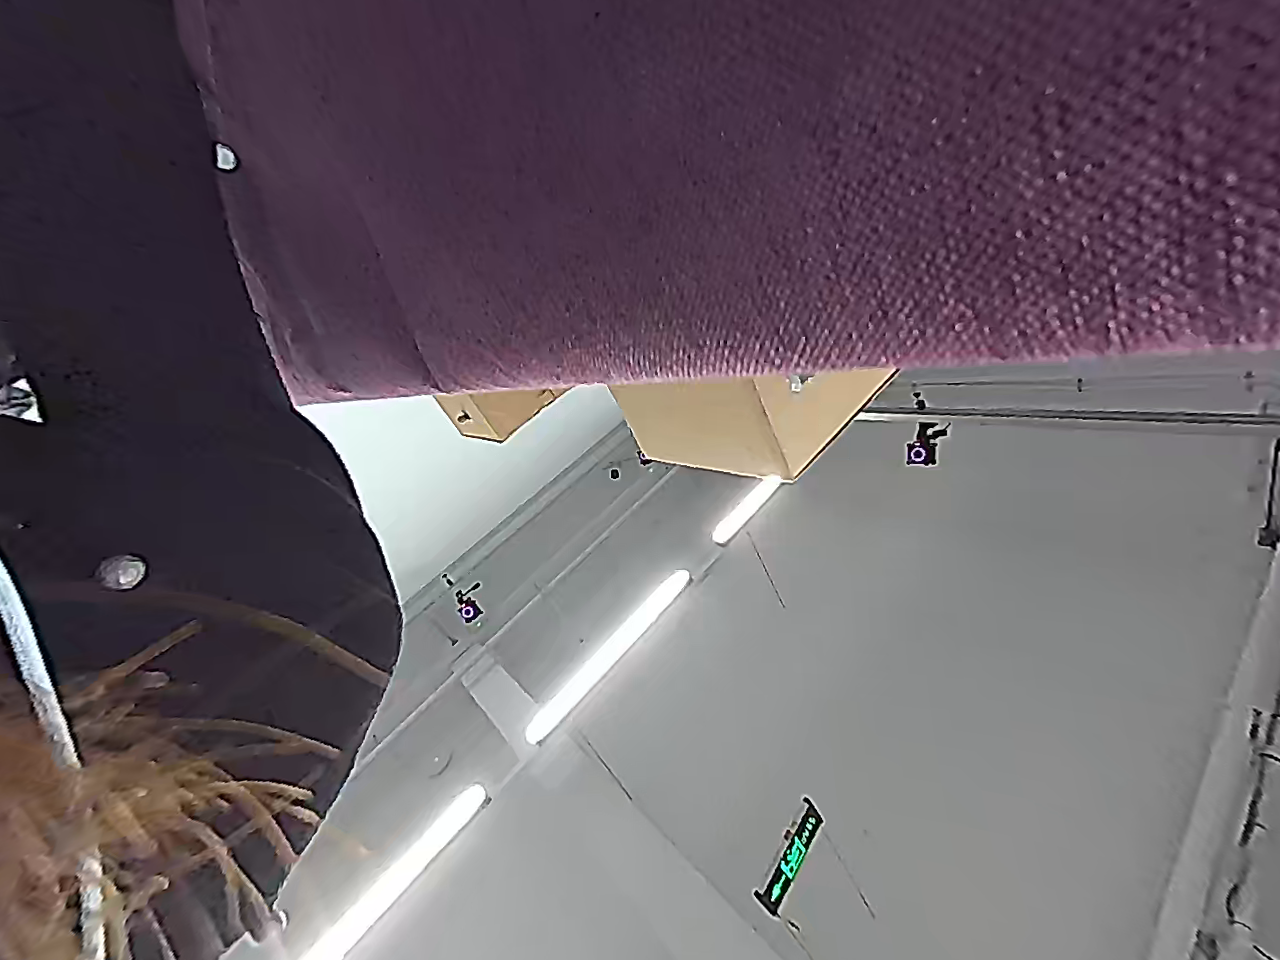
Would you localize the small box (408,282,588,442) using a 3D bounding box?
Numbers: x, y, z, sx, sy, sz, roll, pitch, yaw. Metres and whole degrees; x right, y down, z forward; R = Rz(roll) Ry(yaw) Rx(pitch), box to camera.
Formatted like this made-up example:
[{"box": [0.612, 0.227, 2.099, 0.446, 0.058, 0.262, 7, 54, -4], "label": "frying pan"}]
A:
[{"box": [-0.217, -0.175, 0.810, 0.168, 0.176, 0.179, -43, -151, -23], "label": "small box"}]
